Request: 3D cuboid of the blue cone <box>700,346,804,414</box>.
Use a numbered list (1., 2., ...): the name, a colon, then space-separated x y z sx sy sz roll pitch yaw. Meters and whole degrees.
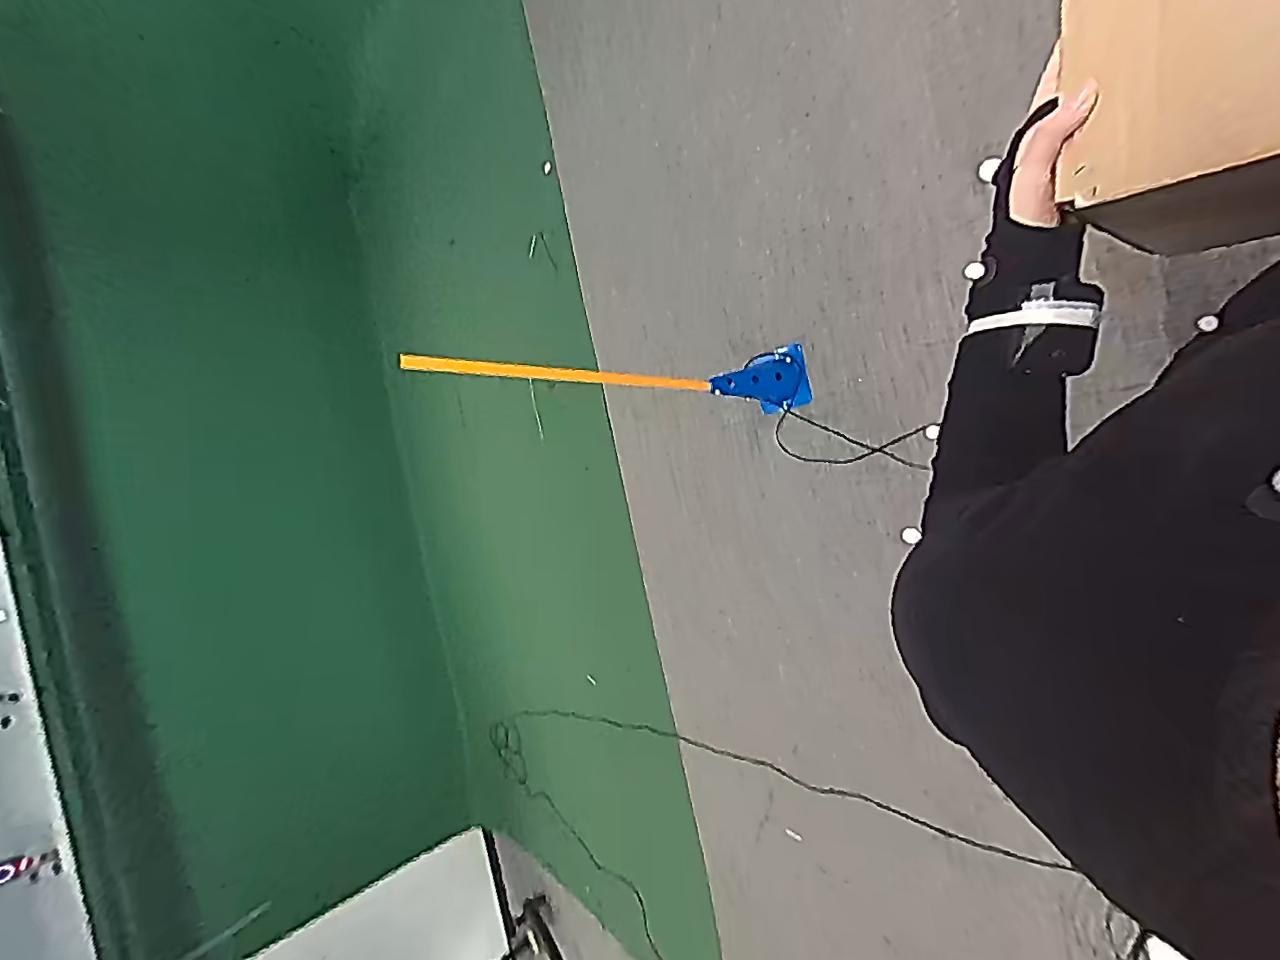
1. blue cone: 0.319 -0.300 1.671 0.192 0.380 0.193 -15 87 50
